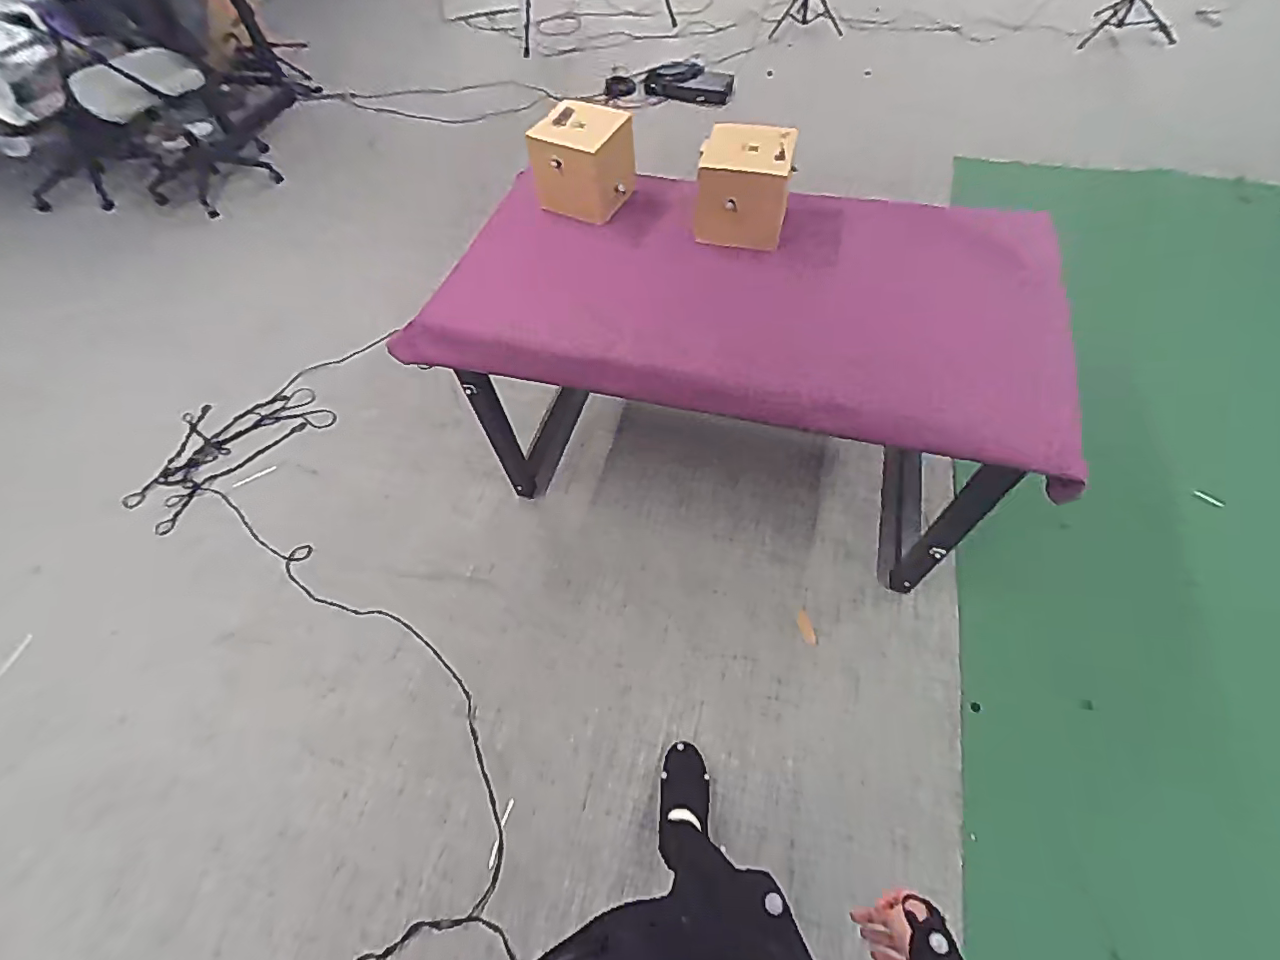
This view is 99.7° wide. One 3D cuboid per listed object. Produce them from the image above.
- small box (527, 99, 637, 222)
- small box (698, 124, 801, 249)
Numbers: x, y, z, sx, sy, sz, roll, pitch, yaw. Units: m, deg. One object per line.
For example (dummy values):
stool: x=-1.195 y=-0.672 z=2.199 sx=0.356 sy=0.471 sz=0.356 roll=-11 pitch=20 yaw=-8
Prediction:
small box: x=-0.121 y=-0.713 z=1.214 sx=0.179 sy=0.176 sz=0.168 roll=24 pitch=64 yaw=16
small box: x=0.223 y=-0.607 z=1.127 sx=0.179 sy=0.176 sz=0.168 roll=12 pitch=62 yaw=12
